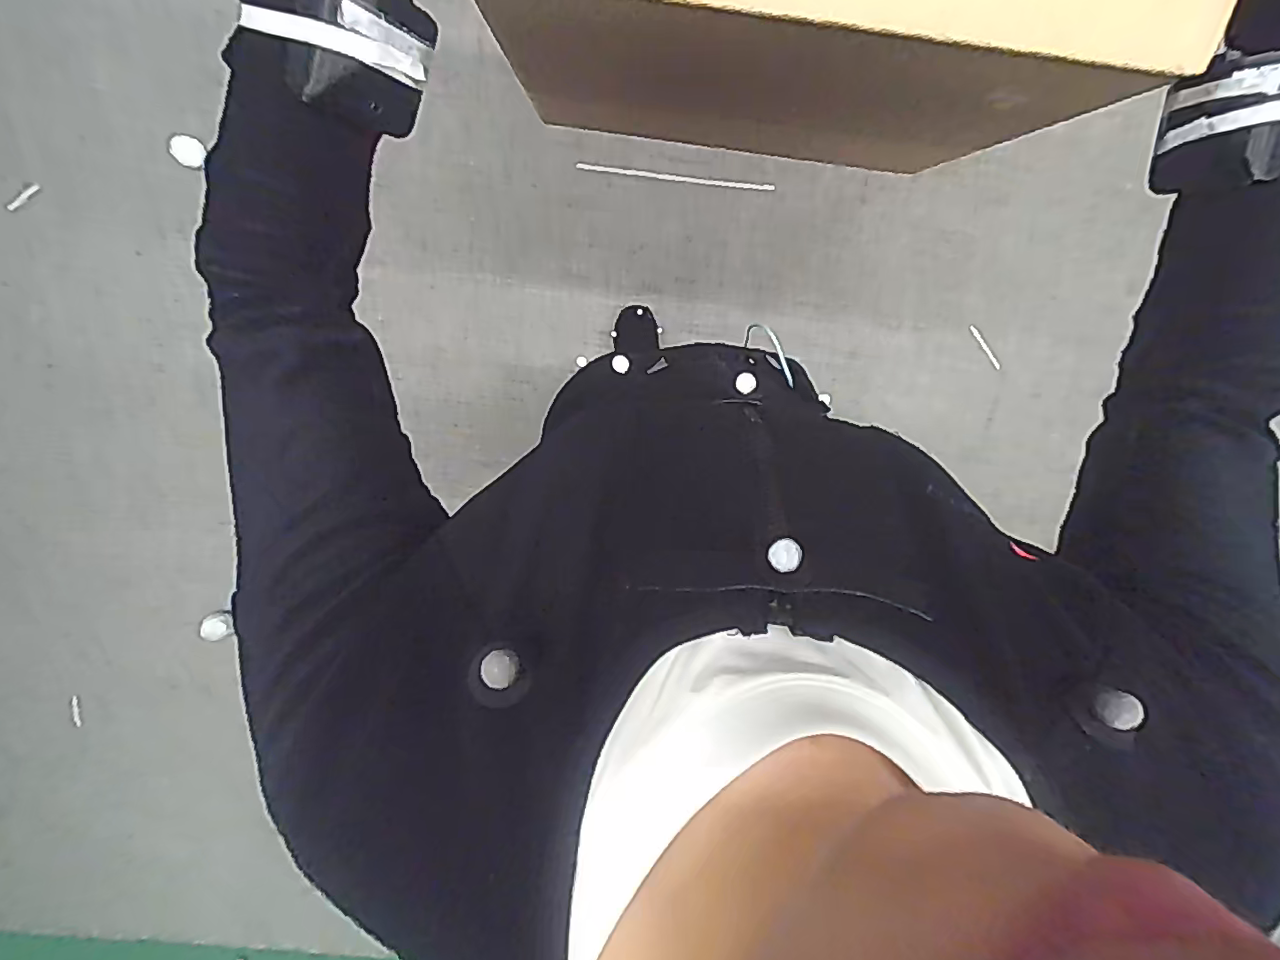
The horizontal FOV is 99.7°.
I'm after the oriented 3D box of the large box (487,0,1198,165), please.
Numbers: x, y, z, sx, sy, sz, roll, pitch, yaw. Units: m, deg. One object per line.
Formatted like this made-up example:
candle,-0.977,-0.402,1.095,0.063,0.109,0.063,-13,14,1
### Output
large box,0.114,-0.443,0.383,0.408,0.320,0.320,5,111,-3
